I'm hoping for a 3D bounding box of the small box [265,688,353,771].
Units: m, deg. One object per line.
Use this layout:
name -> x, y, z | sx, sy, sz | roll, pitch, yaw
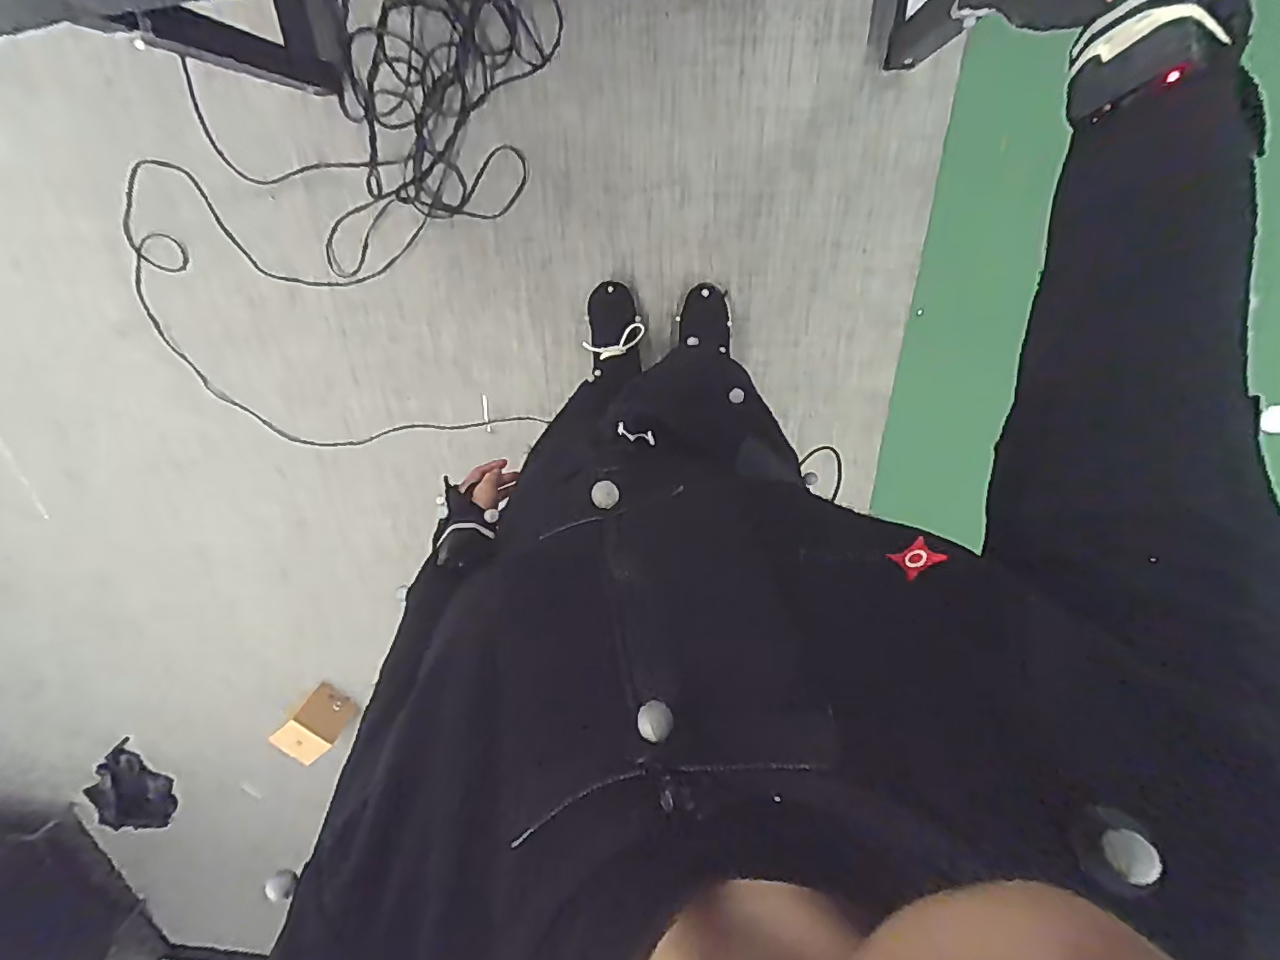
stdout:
small box -> -1.152, 0.870, 1.896 | 0.179, 0.176, 0.168 | -40, 107, 21
